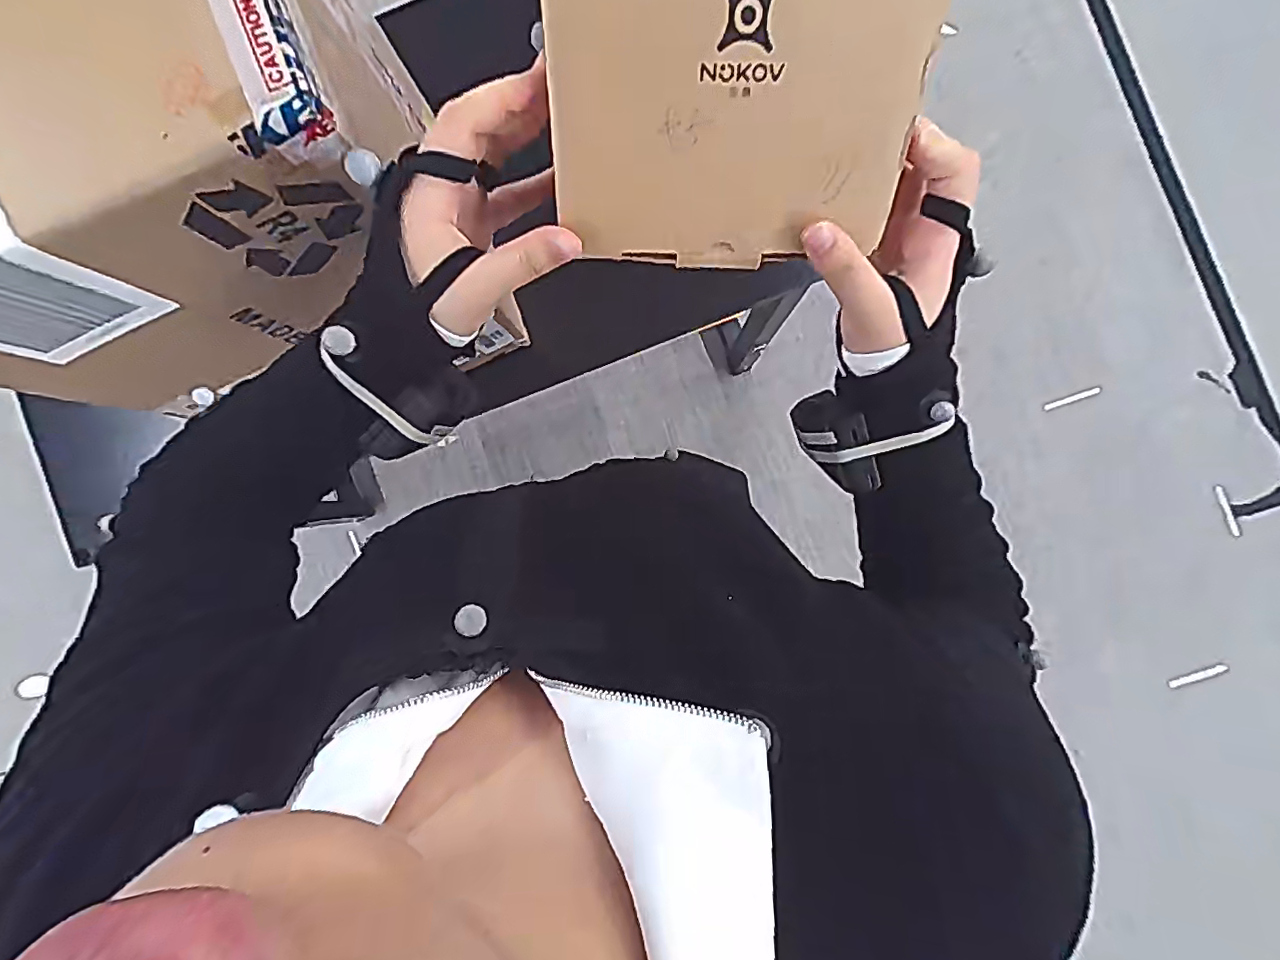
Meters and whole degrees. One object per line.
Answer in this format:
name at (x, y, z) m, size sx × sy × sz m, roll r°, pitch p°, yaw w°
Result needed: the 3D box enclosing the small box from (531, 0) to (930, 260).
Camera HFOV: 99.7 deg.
small box at (0.035, -0.237, 0.292) m, size 0.168 × 0.176 × 0.179 m, roll -1°, pitch 130°, yaw -2°
